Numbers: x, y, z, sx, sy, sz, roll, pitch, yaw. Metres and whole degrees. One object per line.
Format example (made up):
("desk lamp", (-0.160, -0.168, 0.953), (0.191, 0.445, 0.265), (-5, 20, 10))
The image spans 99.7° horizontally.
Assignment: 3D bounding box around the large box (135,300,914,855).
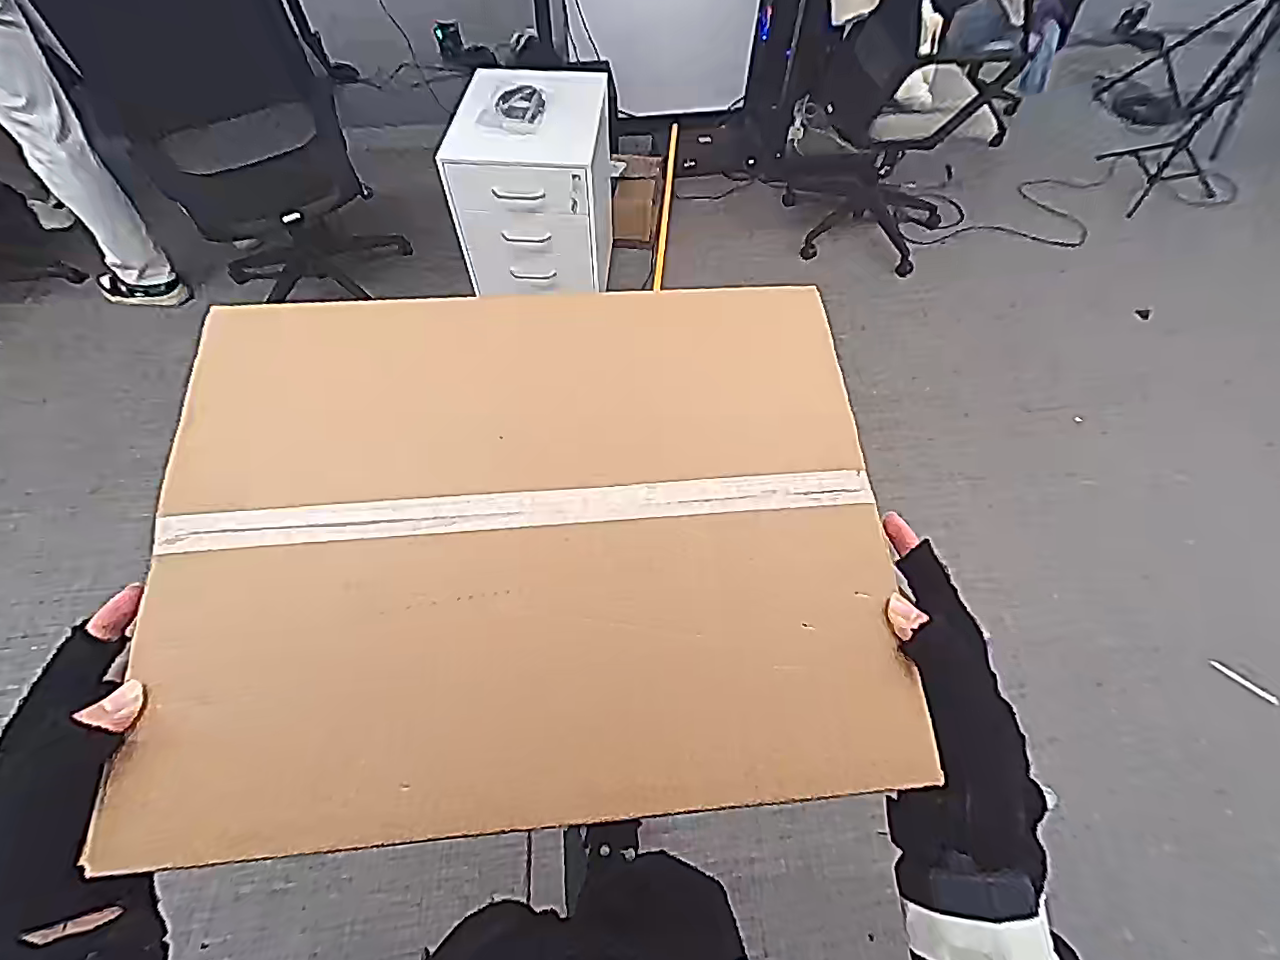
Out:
("large box", (-0.070, 0.078, 0.466), (0.408, 0.320, 0.320), (-4, 70, -4))
